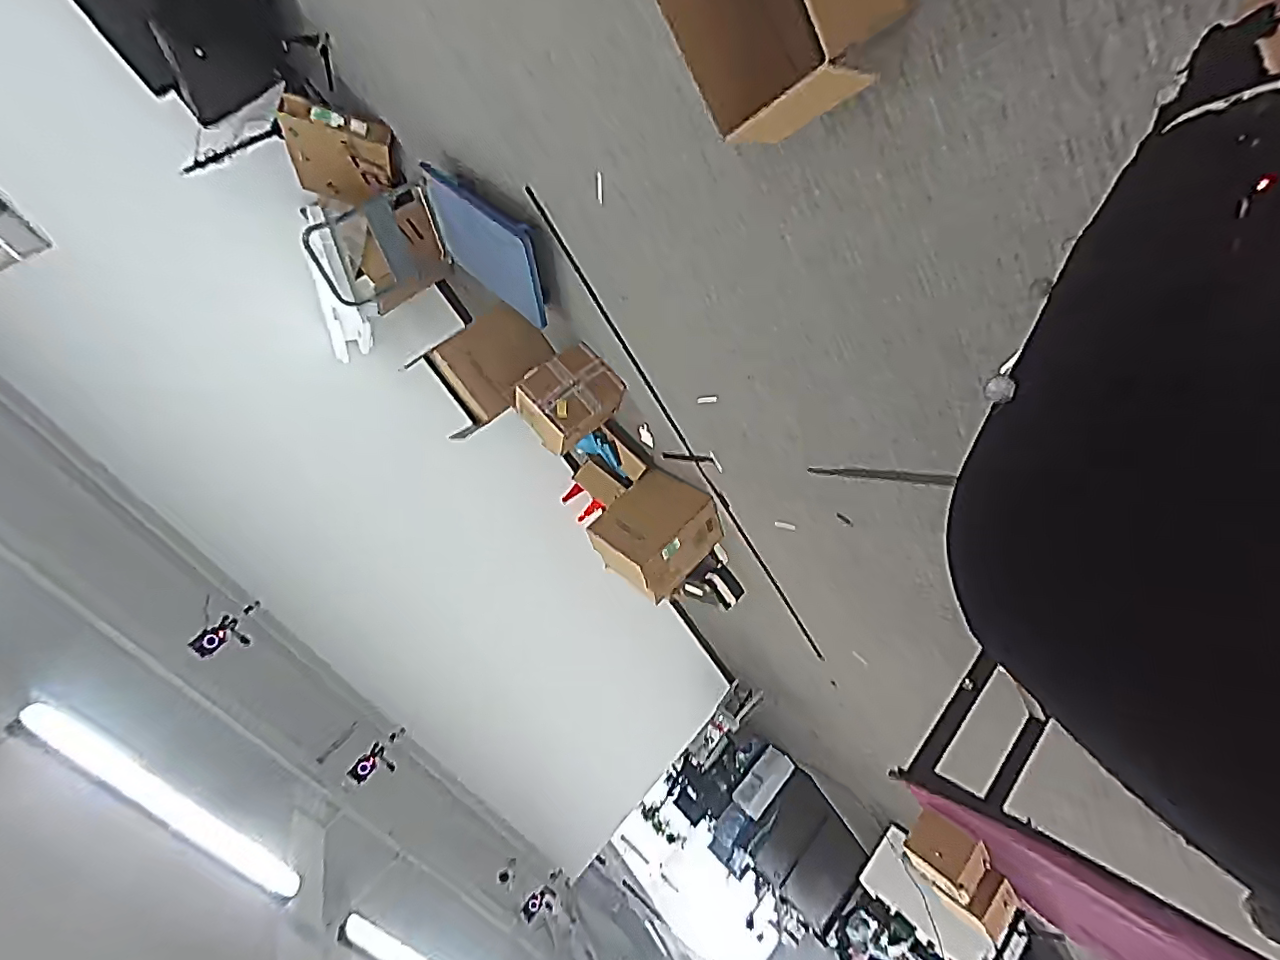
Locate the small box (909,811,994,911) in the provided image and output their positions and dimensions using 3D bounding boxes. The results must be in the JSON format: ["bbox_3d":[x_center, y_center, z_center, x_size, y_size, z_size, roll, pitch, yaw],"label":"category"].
[{"bbox_3d":[1.017,1.226,1.753,0.179,0.176,0.168,16,144,56],"label":"small box"}]

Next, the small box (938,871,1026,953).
[{"bbox_3d":[1.151,1.409,1.819,0.168,0.176,0.179,56,159,-20],"label":"small box"}]
